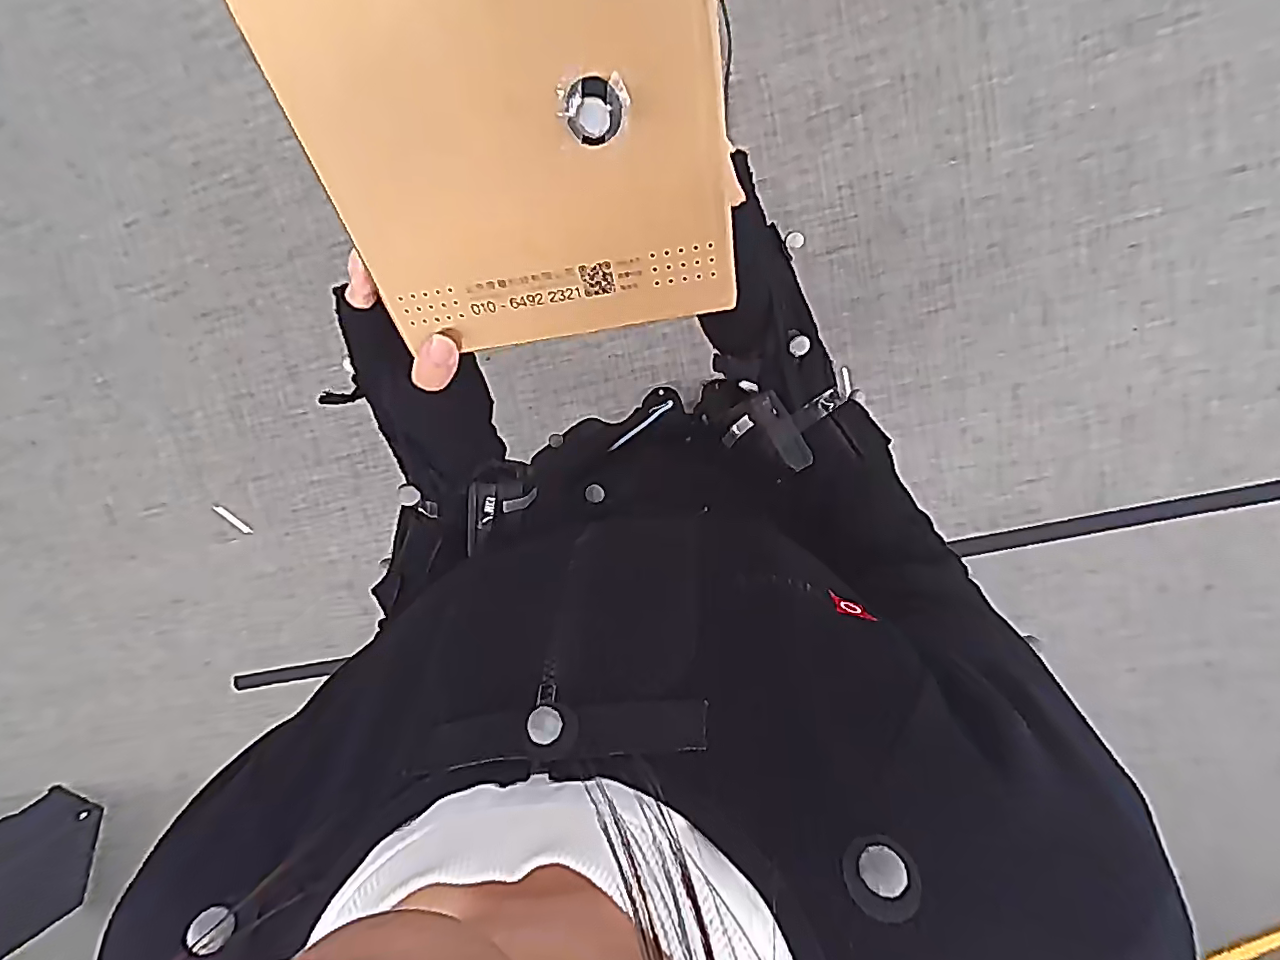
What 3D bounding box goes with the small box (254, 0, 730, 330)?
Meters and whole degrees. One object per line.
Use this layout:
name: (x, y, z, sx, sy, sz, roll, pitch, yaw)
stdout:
small box: (-0.044, -0.193, 0.291, 0.168, 0.179, 0.176, -6, 133, 9)
